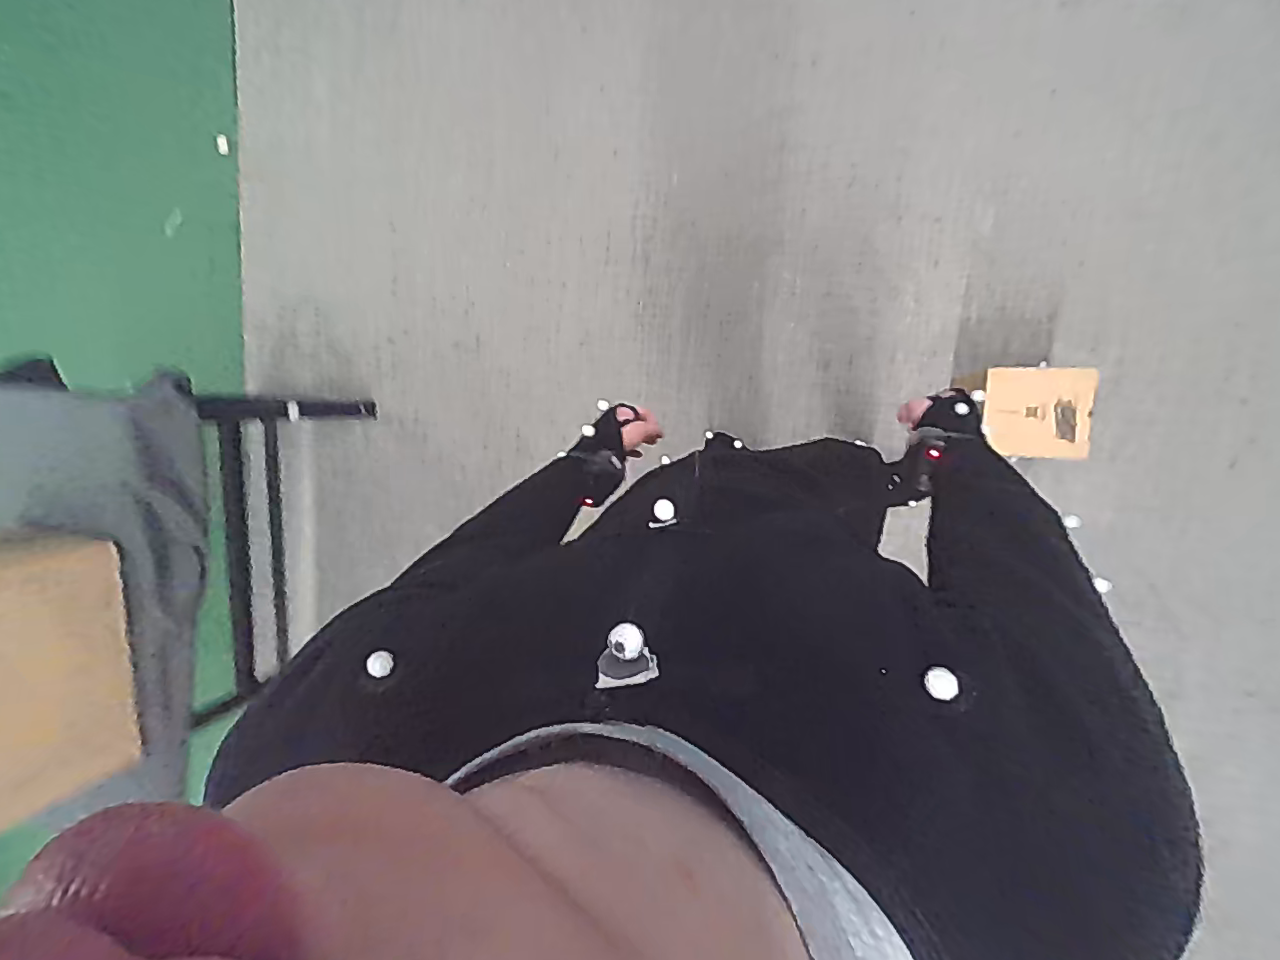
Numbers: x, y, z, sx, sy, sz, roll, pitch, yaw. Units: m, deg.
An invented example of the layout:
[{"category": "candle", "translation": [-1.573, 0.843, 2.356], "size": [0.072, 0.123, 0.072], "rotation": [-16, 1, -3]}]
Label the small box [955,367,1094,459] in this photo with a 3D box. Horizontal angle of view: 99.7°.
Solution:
[{"category": "small box", "translation": [0.755, -0.136, 1.081], "size": [0.179, 0.176, 0.168], "rotation": [4, 98, 18]}]

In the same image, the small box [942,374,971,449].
[{"category": "small box", "translation": [0.812, -0.153, 1.234], "size": [0.179, 0.176, 0.168], "rotation": [5, 98, 19]}]
